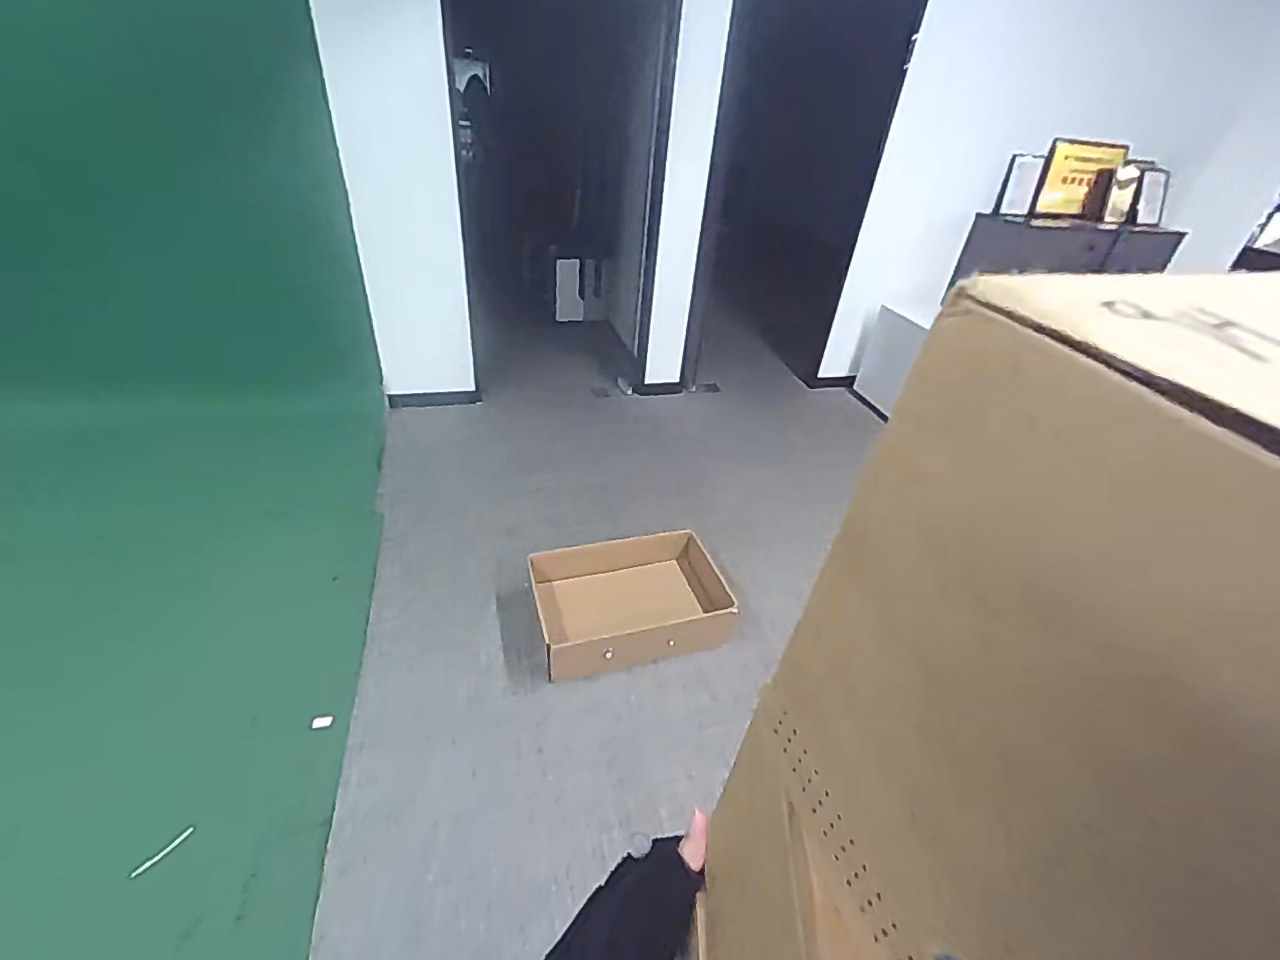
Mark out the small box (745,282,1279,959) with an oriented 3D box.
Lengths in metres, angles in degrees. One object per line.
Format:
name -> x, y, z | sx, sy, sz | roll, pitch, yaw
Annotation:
small box -> 0.142, 0.072, 0.116 | 0.168, 0.176, 0.179 | -5, 41, -14
